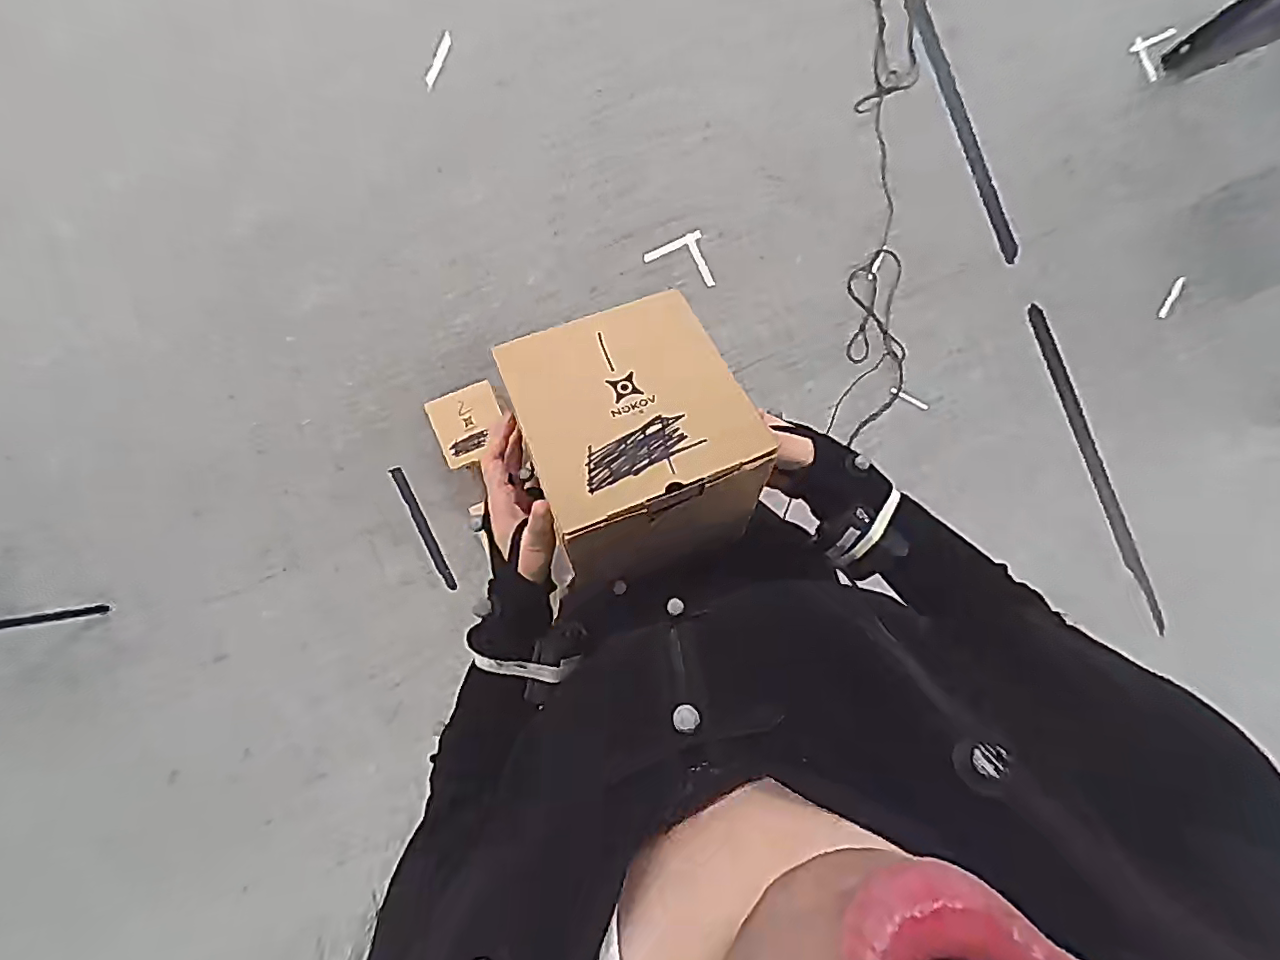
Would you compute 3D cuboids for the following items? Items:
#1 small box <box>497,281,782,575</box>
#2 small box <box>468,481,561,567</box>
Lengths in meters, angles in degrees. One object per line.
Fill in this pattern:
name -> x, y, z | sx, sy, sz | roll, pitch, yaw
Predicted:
small box -> -0.004, -0.031, 0.473 | 0.168, 0.176, 0.179 | -21, 66, -10
small box -> -0.314, 0.107, 1.389 | 0.179, 0.176, 0.168 | -21, 93, -4
